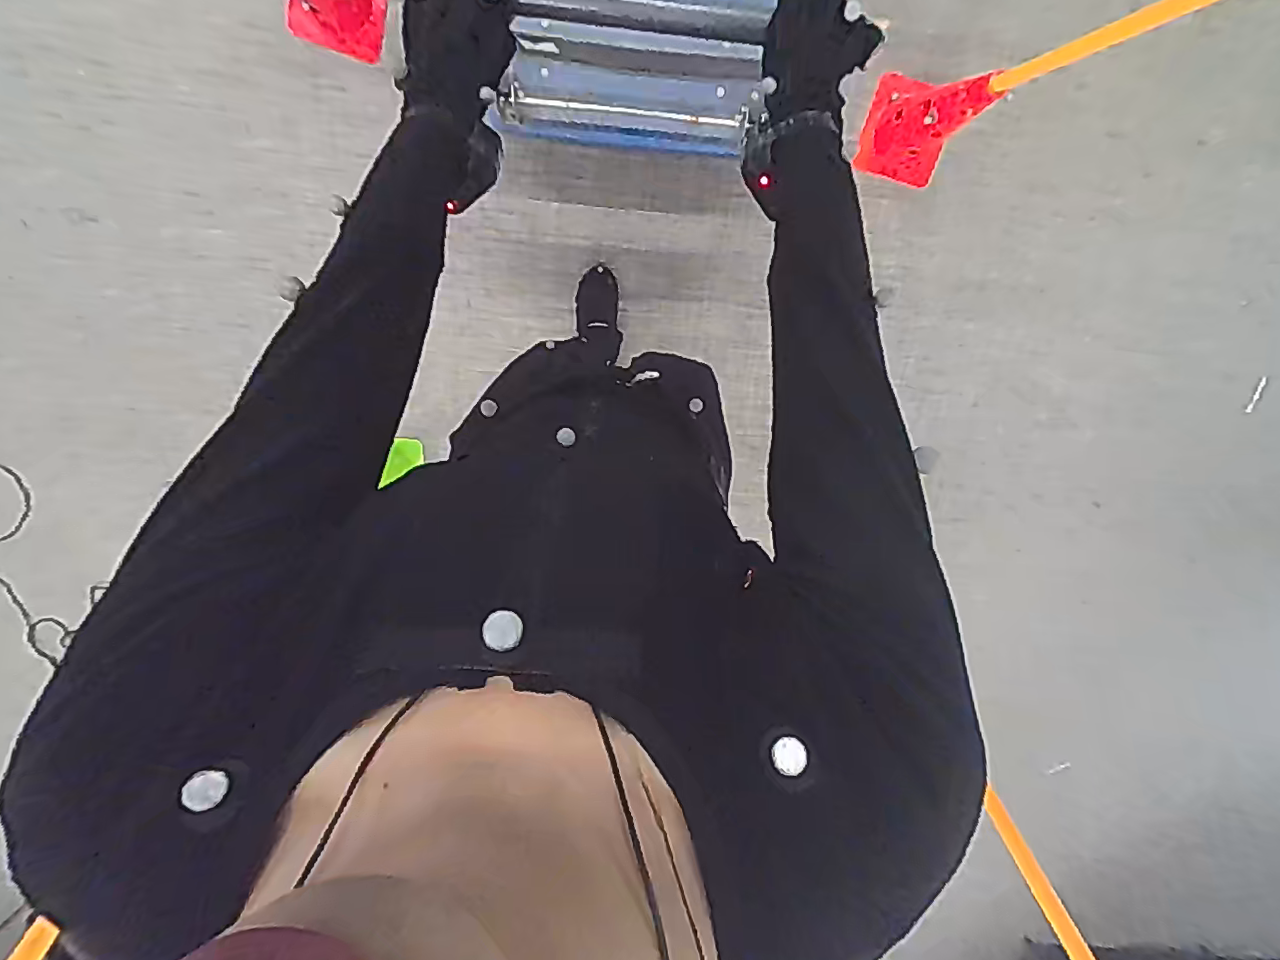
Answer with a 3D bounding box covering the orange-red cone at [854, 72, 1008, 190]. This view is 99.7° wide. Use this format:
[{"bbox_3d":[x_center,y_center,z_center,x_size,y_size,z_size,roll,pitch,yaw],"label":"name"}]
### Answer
[{"bbox_3d":[0.621,-0.746,1.102,0.198,0.360,0.199,15,110,-6],"label":"orange-red cone"}]
